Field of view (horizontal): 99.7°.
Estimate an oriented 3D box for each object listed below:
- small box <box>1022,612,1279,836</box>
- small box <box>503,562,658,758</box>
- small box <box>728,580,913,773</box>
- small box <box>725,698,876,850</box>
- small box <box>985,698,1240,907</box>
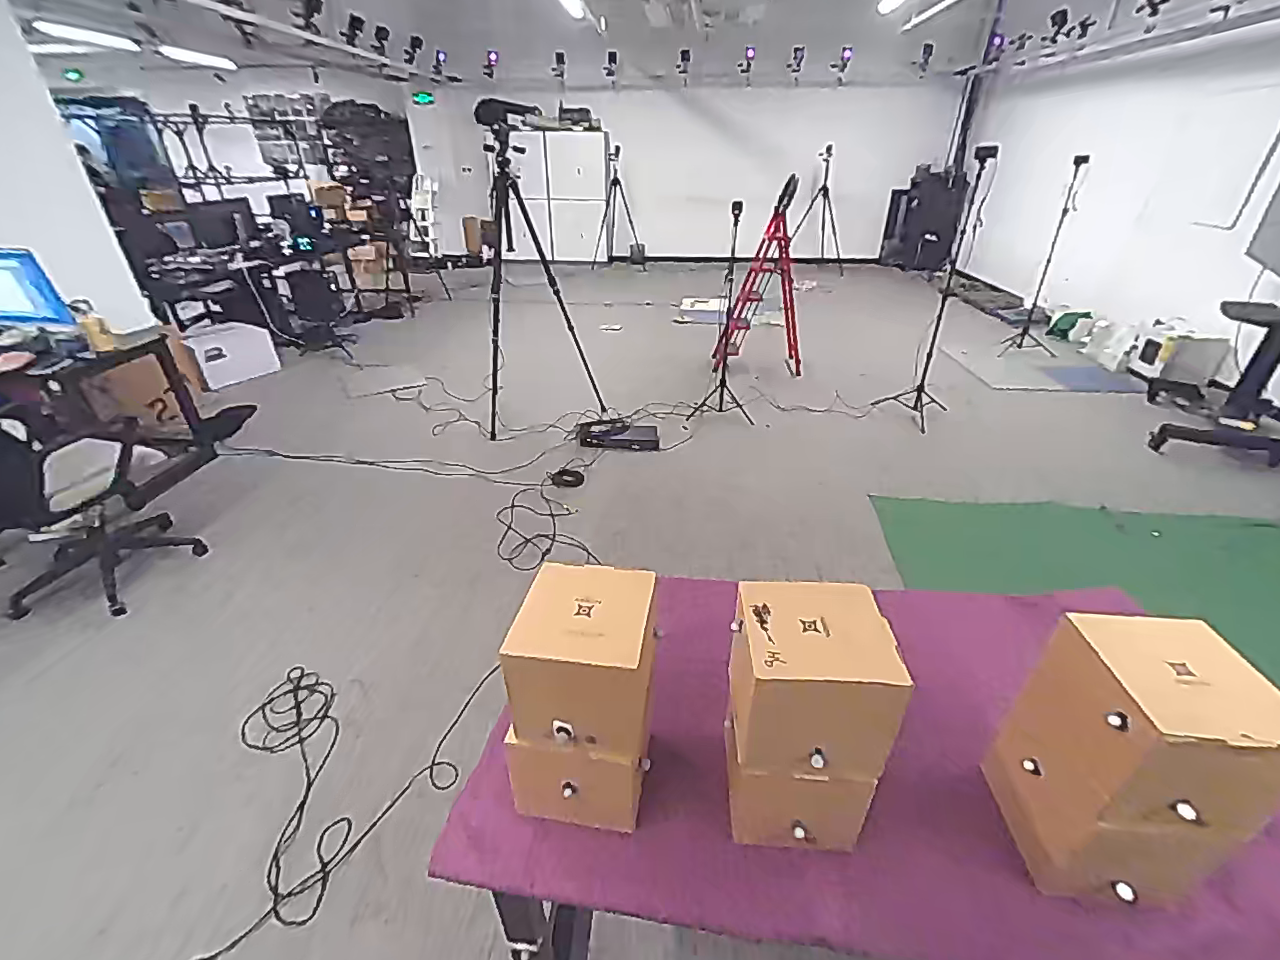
[{"bbox_3d":[0.607,0.285,0.649,0.168,0.176,0.179,2,31,4],"label":"small box"},{"bbox_3d":[-0.068,0.234,0.726,0.168,0.176,0.179,3,30,7],"label":"small box"},{"bbox_3d":[0.214,0.251,0.698,0.179,0.176,0.168,2,29,2],"label":"small box"},{"bbox_3d":[0.215,0.393,0.782,0.168,0.176,0.179,1,30,3],"label":"small box"},{"bbox_3d":[0.605,0.427,0.728,0.168,0.176,0.179,3,31,5],"label":"small box"}]
